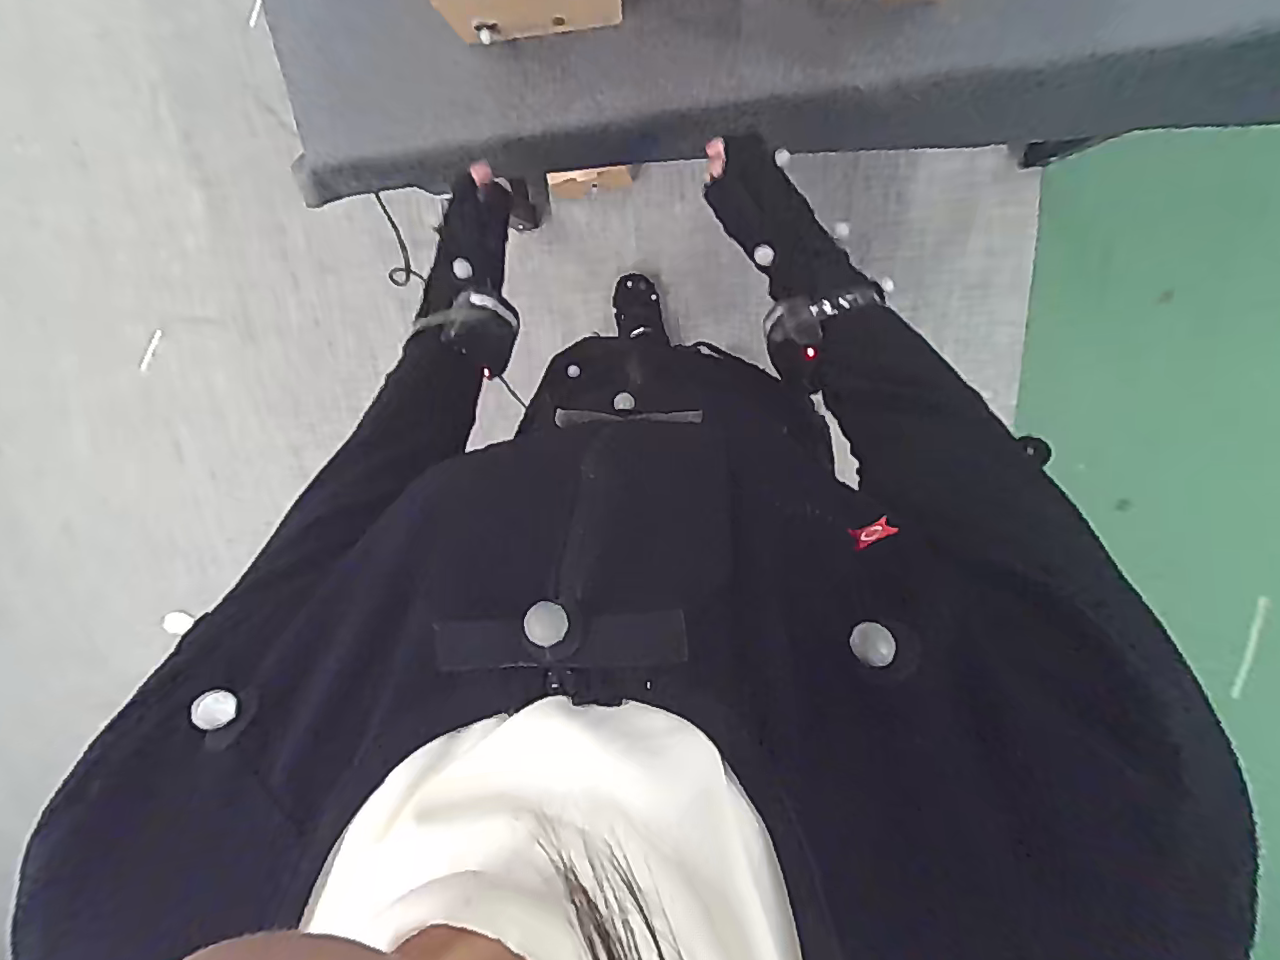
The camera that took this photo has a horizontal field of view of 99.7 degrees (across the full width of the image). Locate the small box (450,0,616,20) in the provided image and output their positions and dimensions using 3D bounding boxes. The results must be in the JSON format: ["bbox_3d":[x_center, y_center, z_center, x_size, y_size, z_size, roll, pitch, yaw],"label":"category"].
[{"bbox_3d":[-0.111,-0.521,0.445,0.168,0.176,0.179,-2,106,5],"label":"small box"}]

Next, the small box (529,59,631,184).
[{"bbox_3d":[-0.117,-0.744,1.146,0.168,0.176,0.179,-8,108,7],"label":"small box"}]
